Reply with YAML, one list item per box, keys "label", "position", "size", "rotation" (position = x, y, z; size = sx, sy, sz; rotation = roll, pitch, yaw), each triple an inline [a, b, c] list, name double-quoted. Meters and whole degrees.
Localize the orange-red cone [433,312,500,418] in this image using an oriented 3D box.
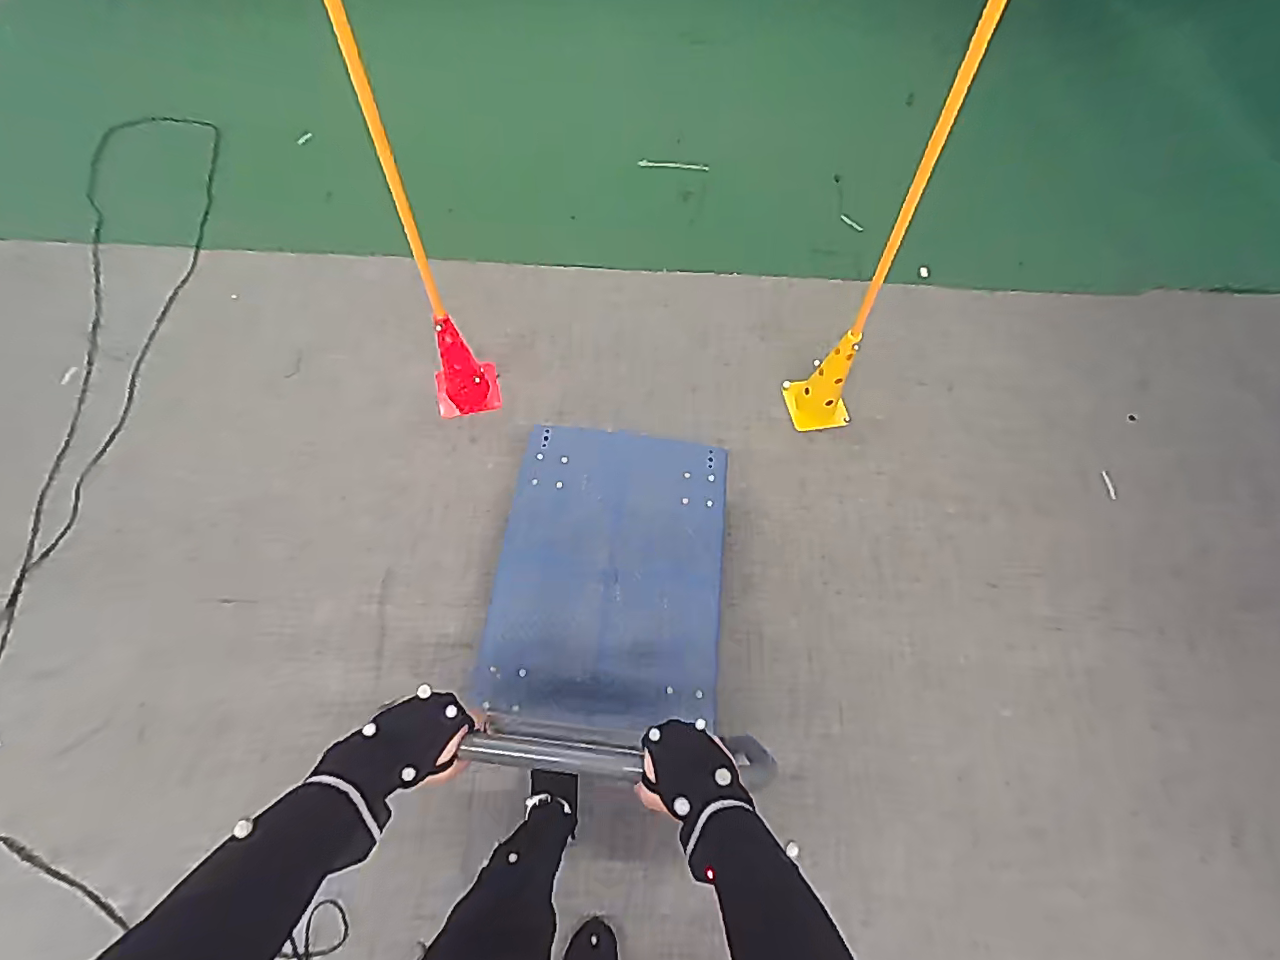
- label: "orange-red cone"
  position: [-0.570, -0.377, 1.665]
  size: [0.199, 0.360, 0.198]
  rotation: [-12, 64, -8]
